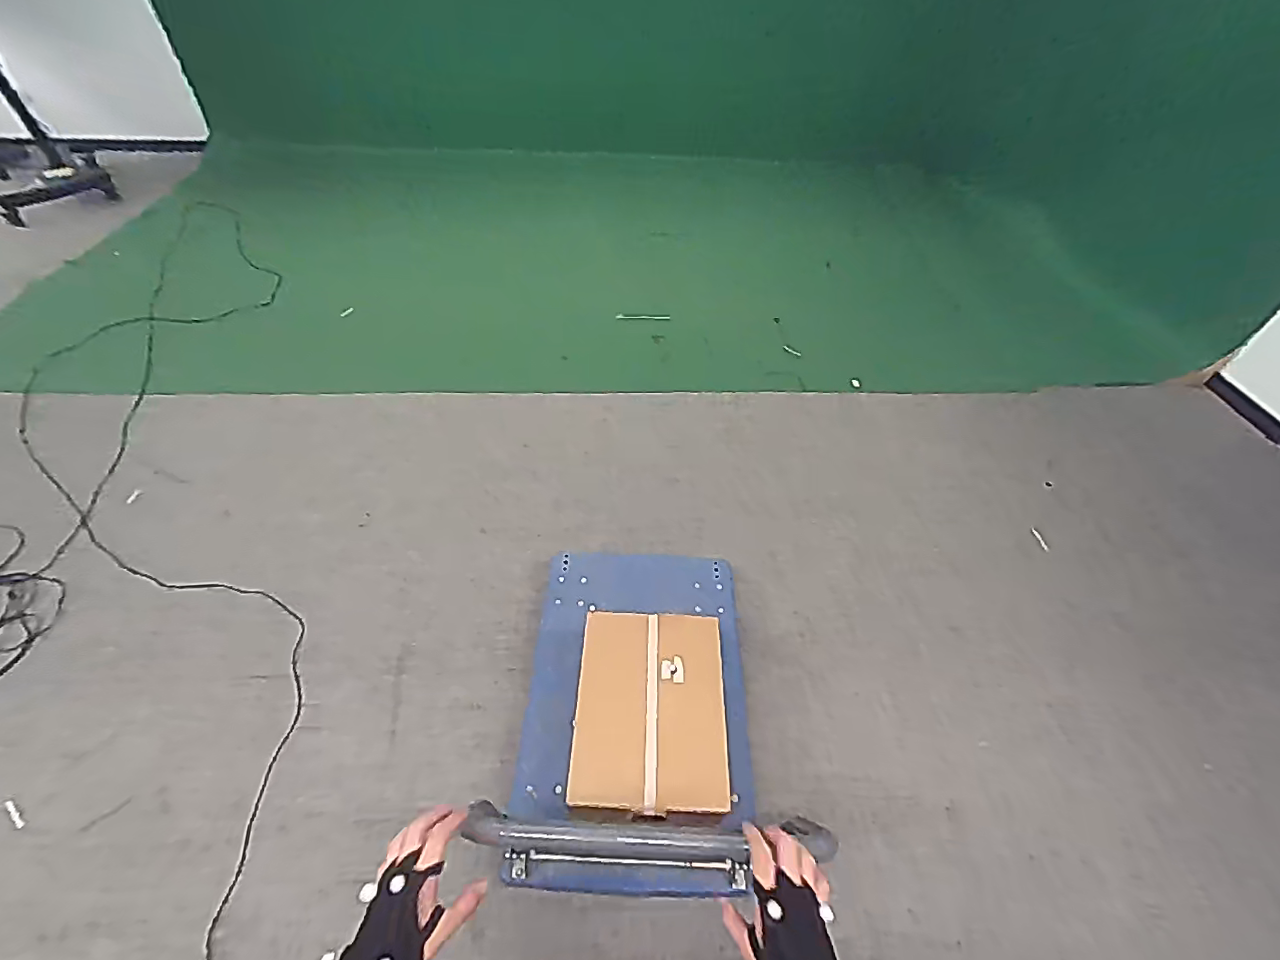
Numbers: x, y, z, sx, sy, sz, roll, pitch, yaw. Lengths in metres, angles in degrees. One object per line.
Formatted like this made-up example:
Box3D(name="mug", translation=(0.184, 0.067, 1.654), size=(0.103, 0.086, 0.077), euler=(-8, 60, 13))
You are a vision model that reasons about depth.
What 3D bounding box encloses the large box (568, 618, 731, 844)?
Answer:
Box3D(name="large box", translation=(0.016, 0.578, 1.250), size=(0.320, 0.320, 0.408), euler=(3, 46, -1))
